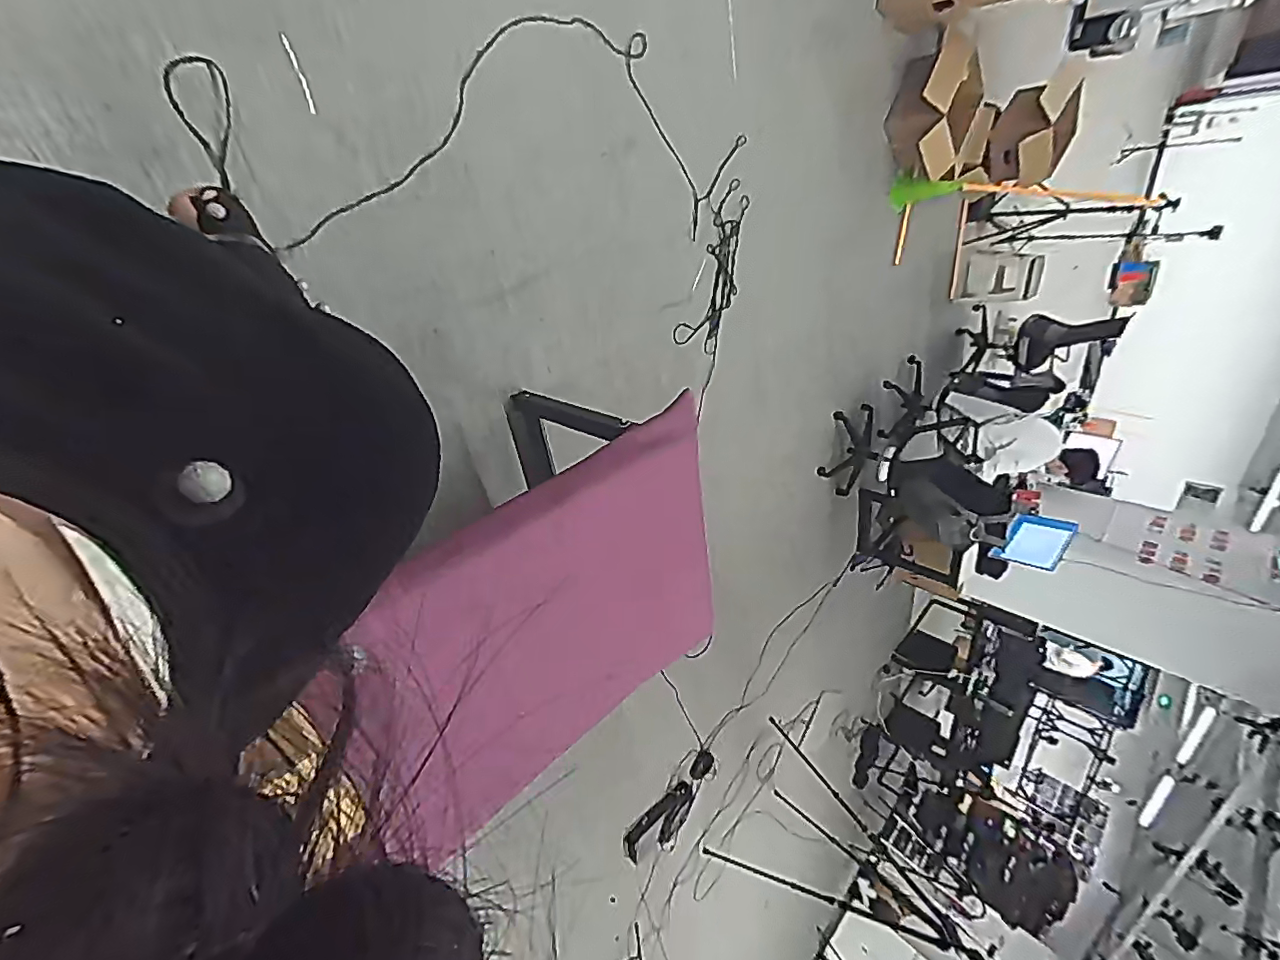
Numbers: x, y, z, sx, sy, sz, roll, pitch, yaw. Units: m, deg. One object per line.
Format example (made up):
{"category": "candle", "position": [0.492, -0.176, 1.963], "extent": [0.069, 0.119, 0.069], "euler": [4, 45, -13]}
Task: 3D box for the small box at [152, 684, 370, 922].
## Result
{"category": "small box", "position": [-0.507, 0.418, 0.726], "extent": [0.179, 0.176, 0.168], "euler": [-34, 127, -33]}
